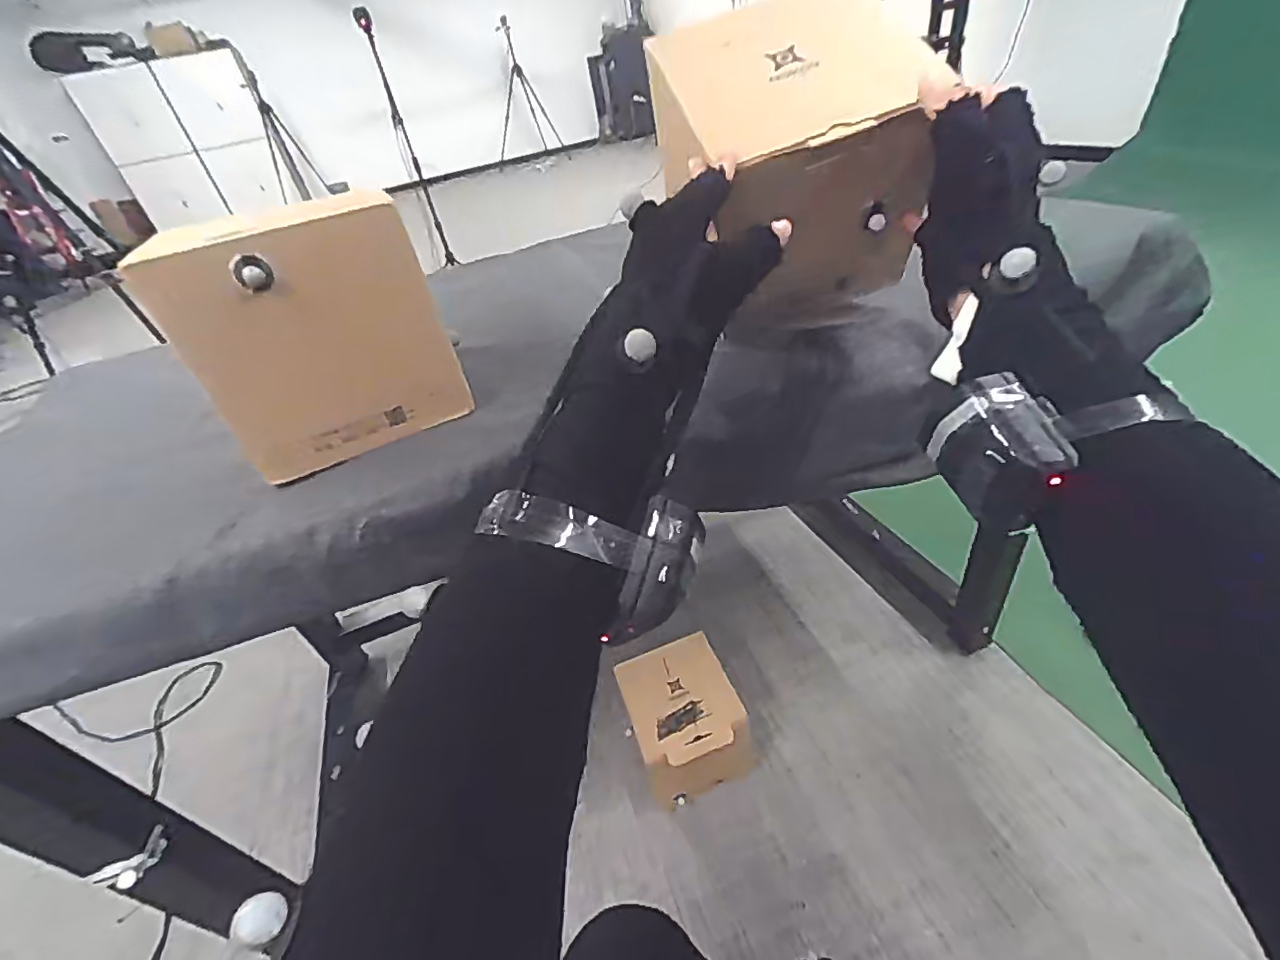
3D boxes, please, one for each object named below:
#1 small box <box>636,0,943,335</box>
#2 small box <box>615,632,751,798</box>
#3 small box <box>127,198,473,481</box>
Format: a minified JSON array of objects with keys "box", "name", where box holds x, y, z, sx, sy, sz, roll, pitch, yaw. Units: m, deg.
[{"box":[0.111,-0.247,0.455,0.168,0.176,0.179,-19,60,1],"name":"small box"},{"box":[0.073,0.395,0.900,0.168,0.176,0.179,-19,36,-9],"name":"small box"},{"box":[-0.262,-0.126,0.458,0.168,0.176,0.179,-25,37,-17],"name":"small box"}]
